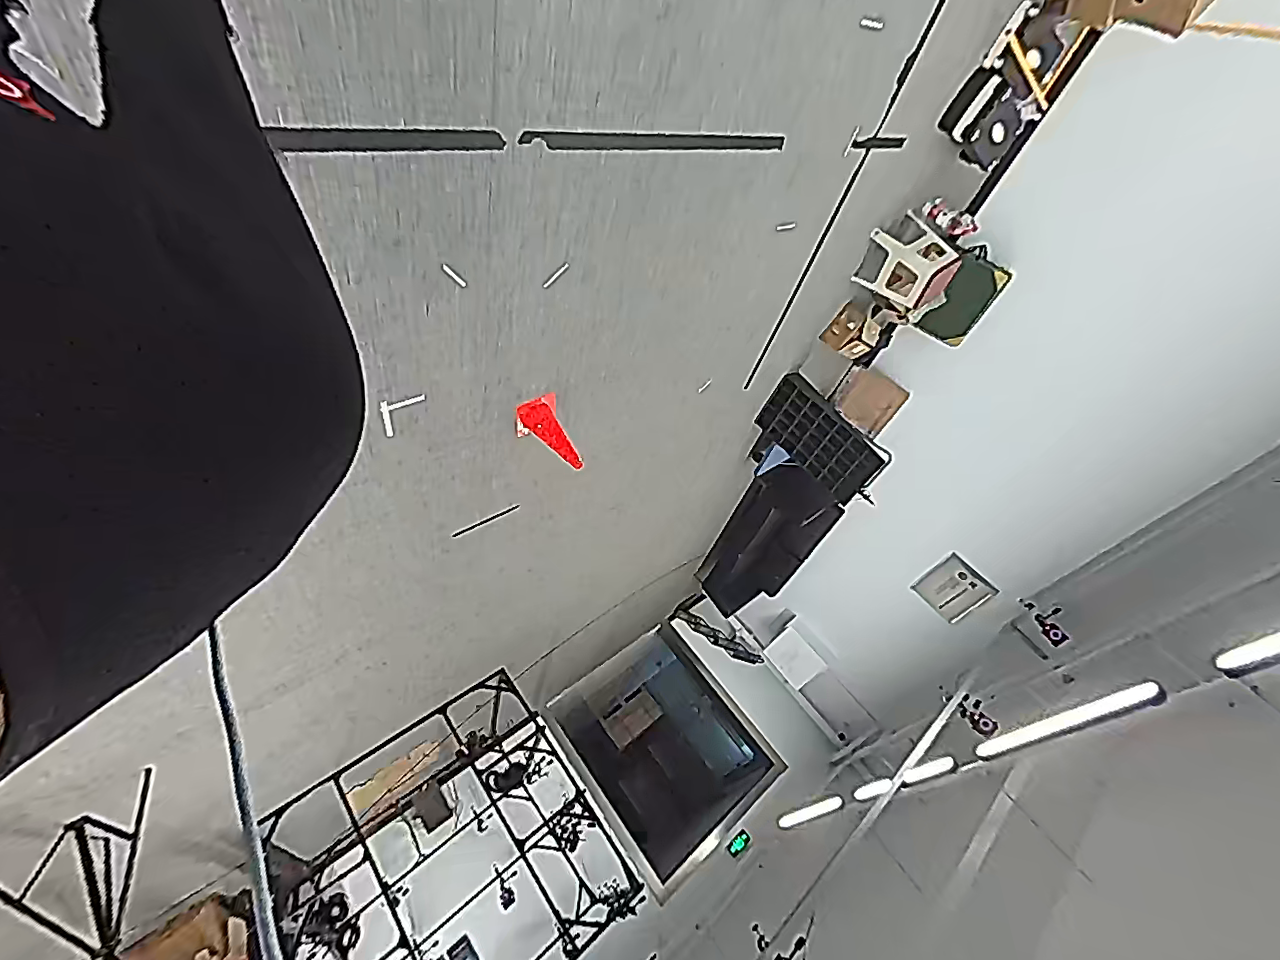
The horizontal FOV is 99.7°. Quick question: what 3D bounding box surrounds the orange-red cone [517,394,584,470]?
[{"bbox_3d":[-0.362,-0.179,2.381,0.199,0.360,0.198,-30,155,-30],"label":"orange-red cone"}]
